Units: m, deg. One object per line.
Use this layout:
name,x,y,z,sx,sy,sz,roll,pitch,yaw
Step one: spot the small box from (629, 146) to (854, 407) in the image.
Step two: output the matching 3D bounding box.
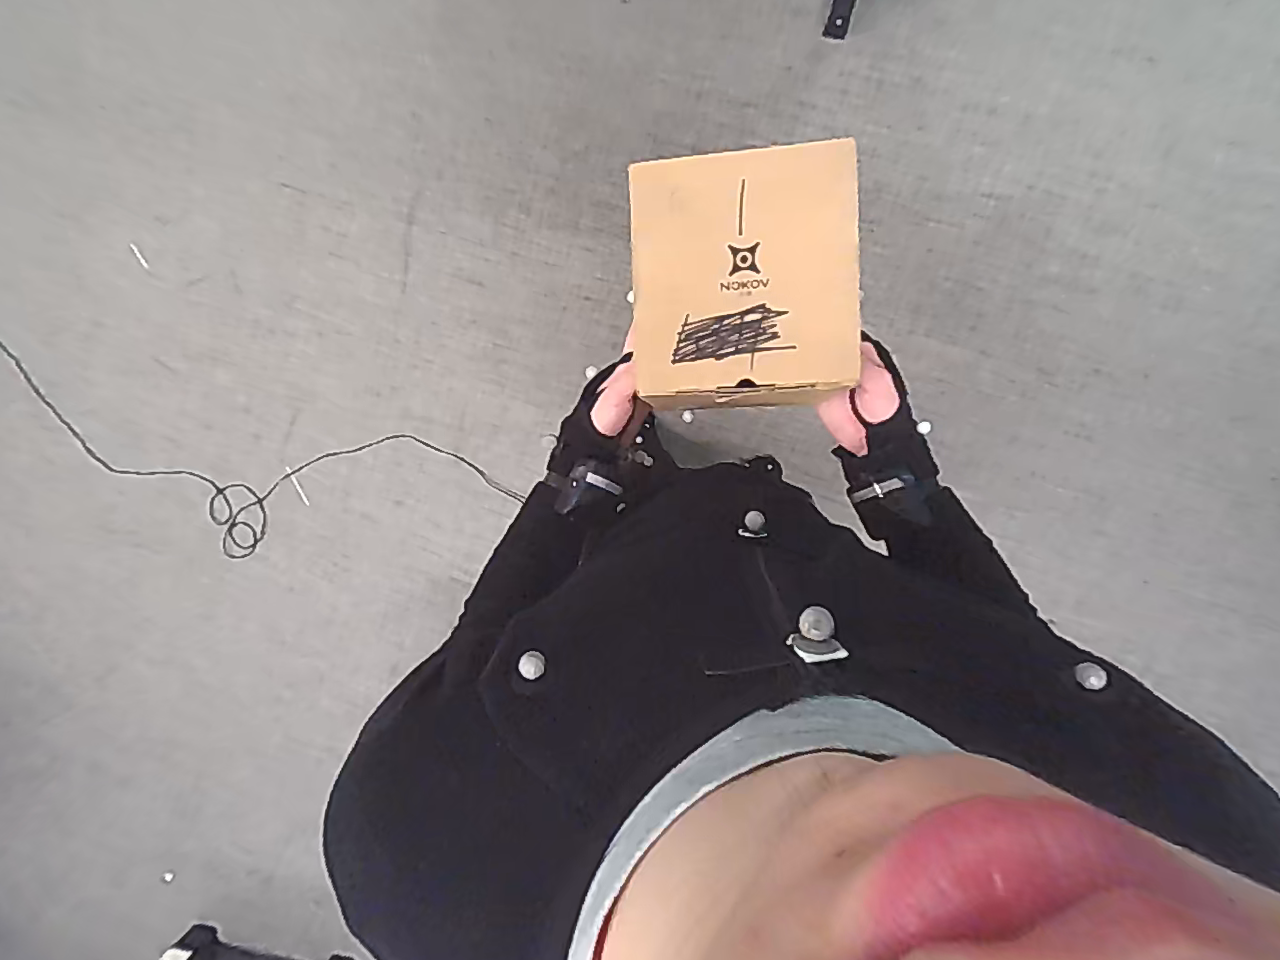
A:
small box,0.085,-0.156,0.480,0.168,0.176,0.179,-1,93,8
